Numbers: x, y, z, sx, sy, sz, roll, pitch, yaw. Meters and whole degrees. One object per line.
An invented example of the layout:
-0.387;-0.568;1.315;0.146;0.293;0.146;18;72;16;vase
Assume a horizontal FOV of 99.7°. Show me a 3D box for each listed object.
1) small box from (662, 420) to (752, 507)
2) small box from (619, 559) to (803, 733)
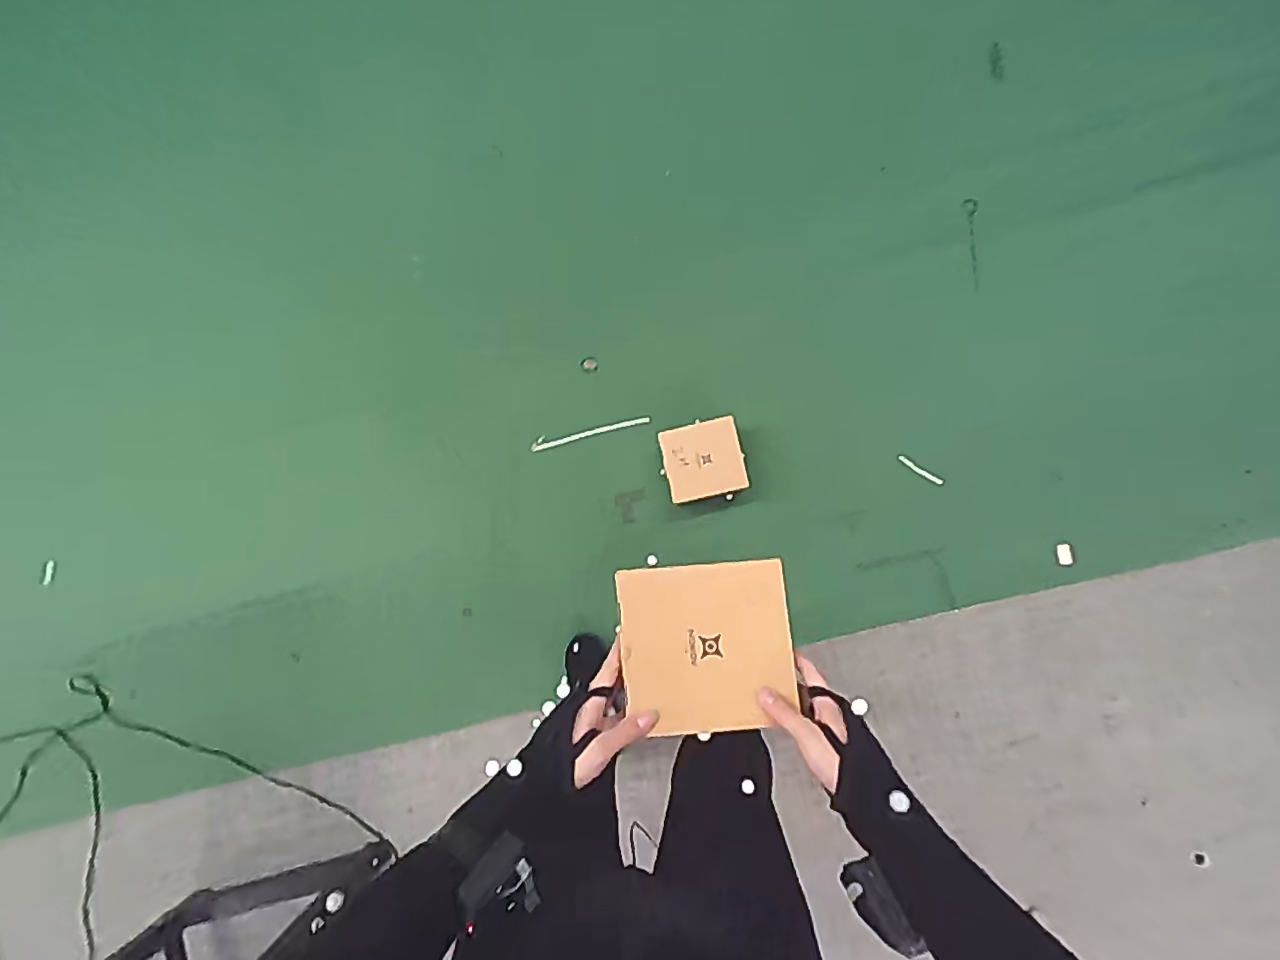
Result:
0.154;-0.034;1.284;0.179;0.176;0.168;-13;85;5;small box
0.074;0.181;0.632;0.179;0.176;0.168;-6;79;2;small box
